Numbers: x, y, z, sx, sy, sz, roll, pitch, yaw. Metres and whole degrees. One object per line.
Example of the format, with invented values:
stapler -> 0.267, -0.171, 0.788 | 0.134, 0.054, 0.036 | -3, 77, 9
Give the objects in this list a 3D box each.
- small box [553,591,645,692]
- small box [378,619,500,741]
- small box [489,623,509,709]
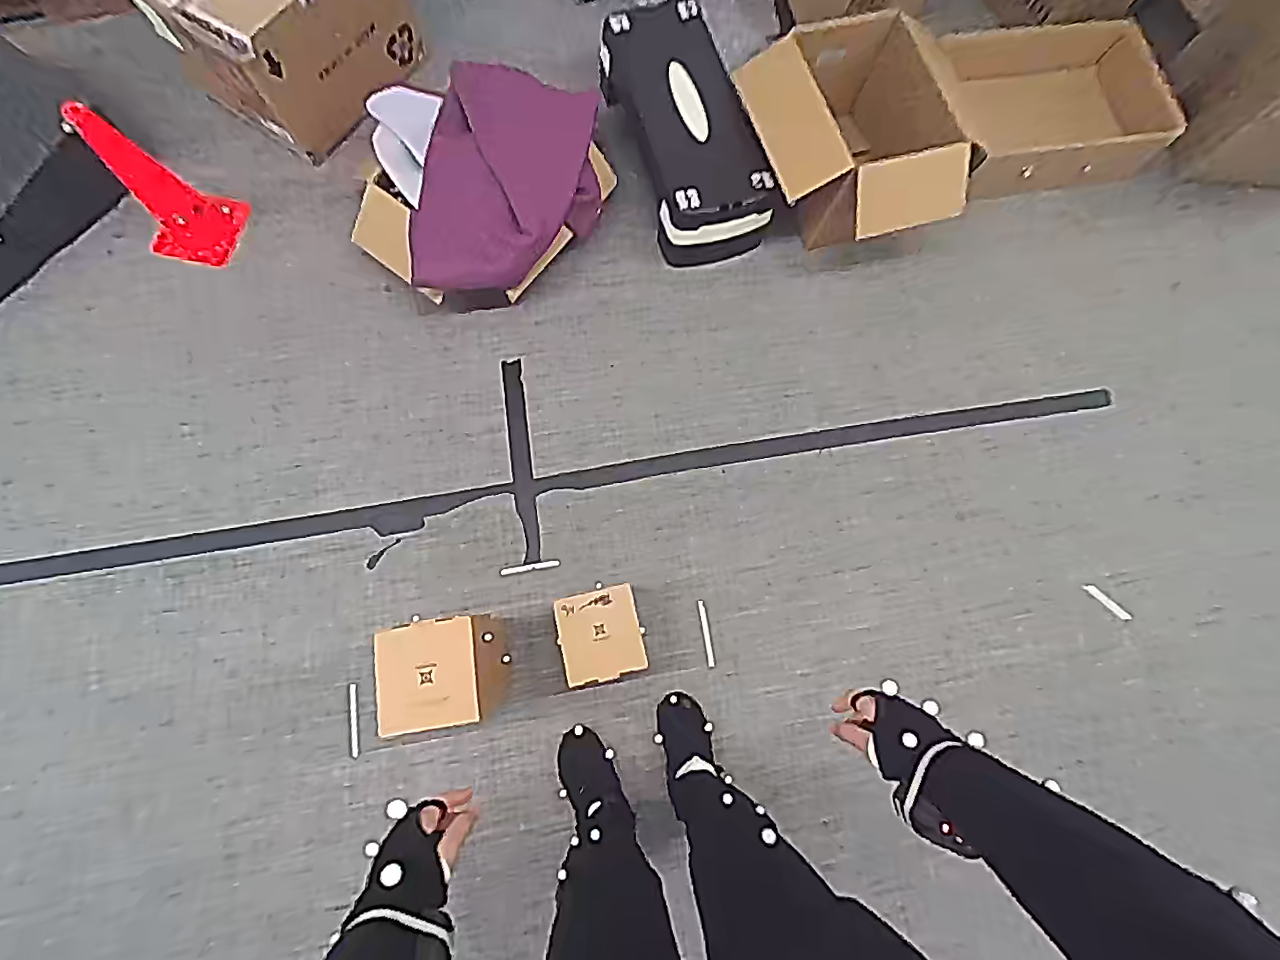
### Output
small box -> -0.088, 0.346, 1.186 | 0.168, 0.176, 0.179 | -12, 78, -6
small box -> -0.362, 0.357, 0.995 | 0.168, 0.176, 0.179 | -9, 78, -5
small box -> -0.379, 0.401, 1.151 | 0.179, 0.176, 0.168 | -7, 77, -5
